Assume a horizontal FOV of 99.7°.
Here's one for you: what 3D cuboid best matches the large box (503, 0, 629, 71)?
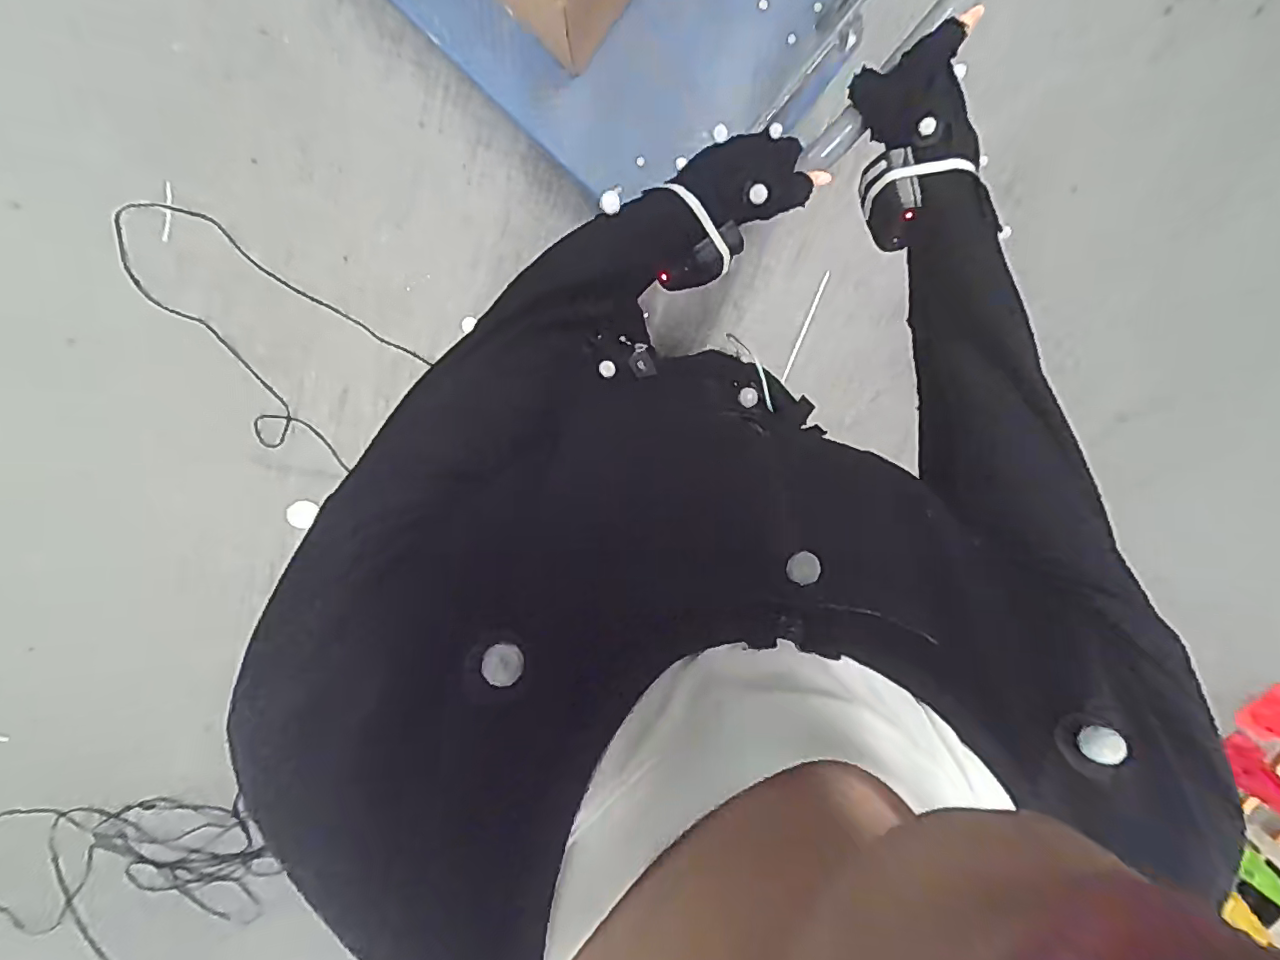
[{"bbox_3d":[-0.102,-0.973,0.829,0.320,0.320,0.408,37,104,-13],"label":"large box"}]
